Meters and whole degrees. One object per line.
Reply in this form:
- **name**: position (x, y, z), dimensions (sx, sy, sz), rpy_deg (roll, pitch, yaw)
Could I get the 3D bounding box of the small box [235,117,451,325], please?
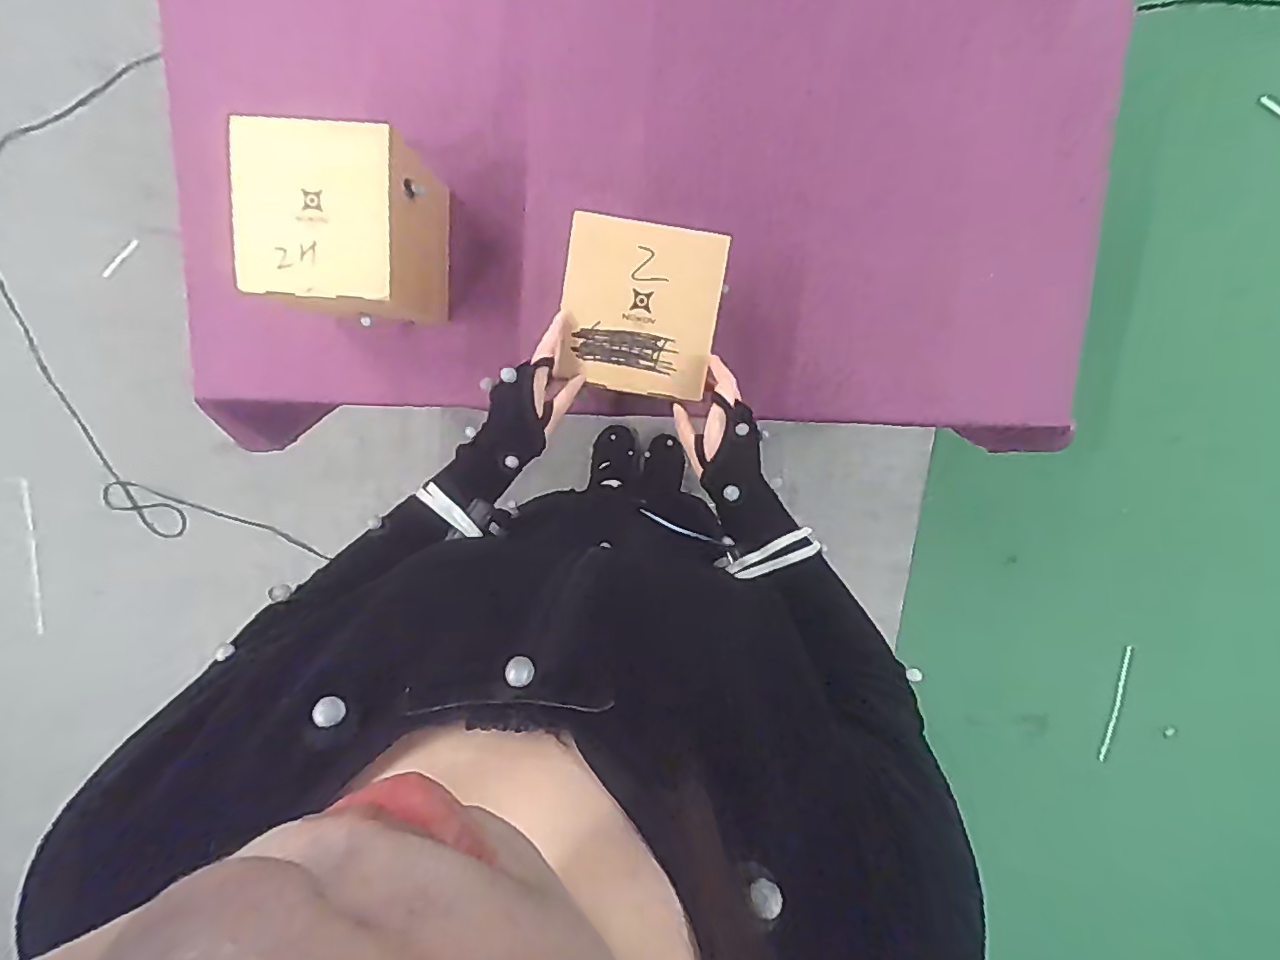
- **small box**: position (-0.335, -0.290, 0.640), dimensions (0.168, 0.176, 0.179), rpy_deg (4, 98, 1)
